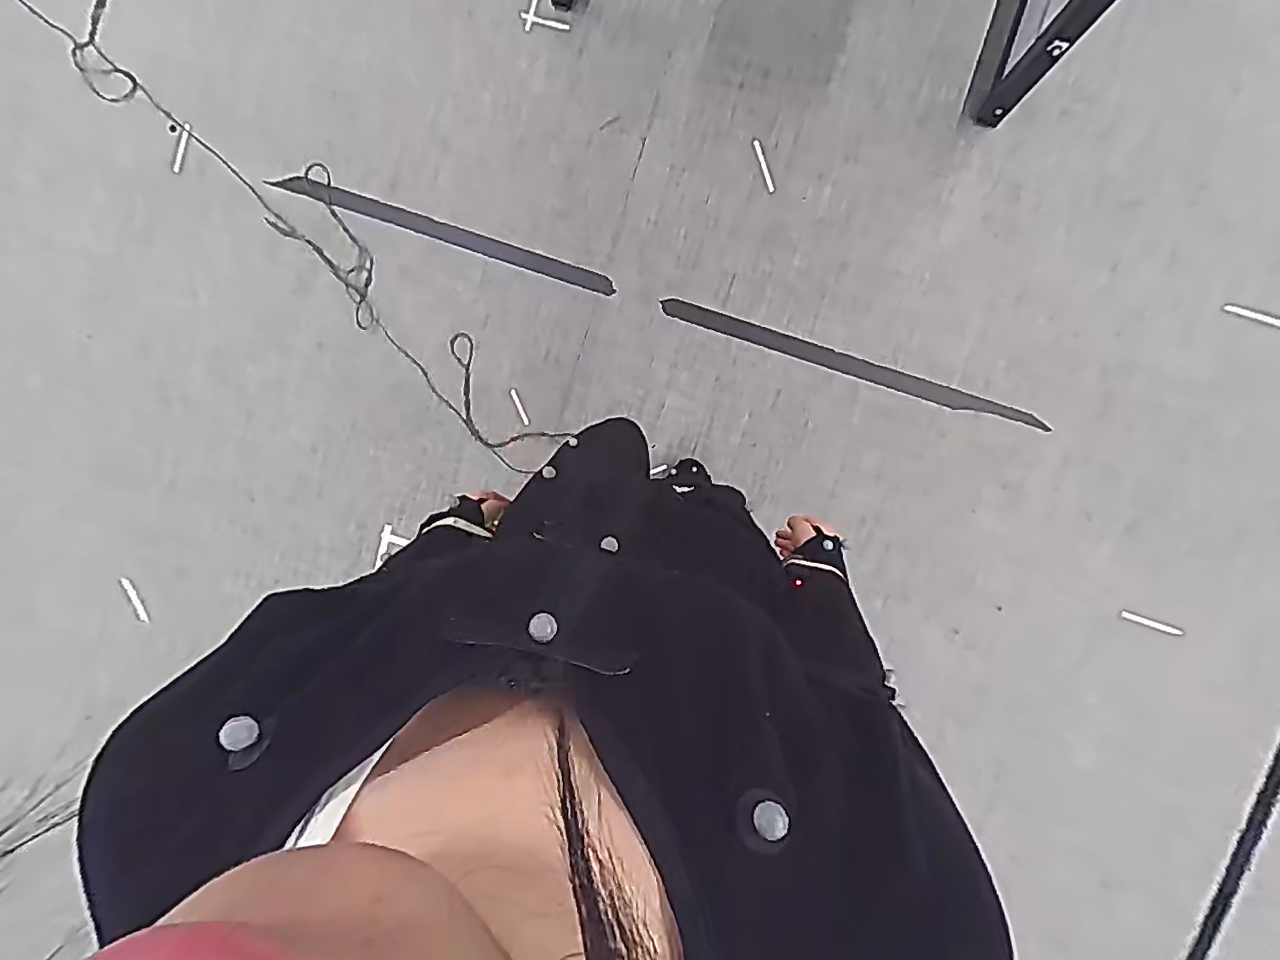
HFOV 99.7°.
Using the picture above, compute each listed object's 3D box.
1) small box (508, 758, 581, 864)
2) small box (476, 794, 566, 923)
[{"bbox_3d":[-0.255,0.875,1.445,0.168,0.176,0.179,5,92,4],"label":"small box"},{"bbox_3d":[-0.275,0.888,1.281,0.168,0.176,0.179,5,93,2],"label":"small box"}]
